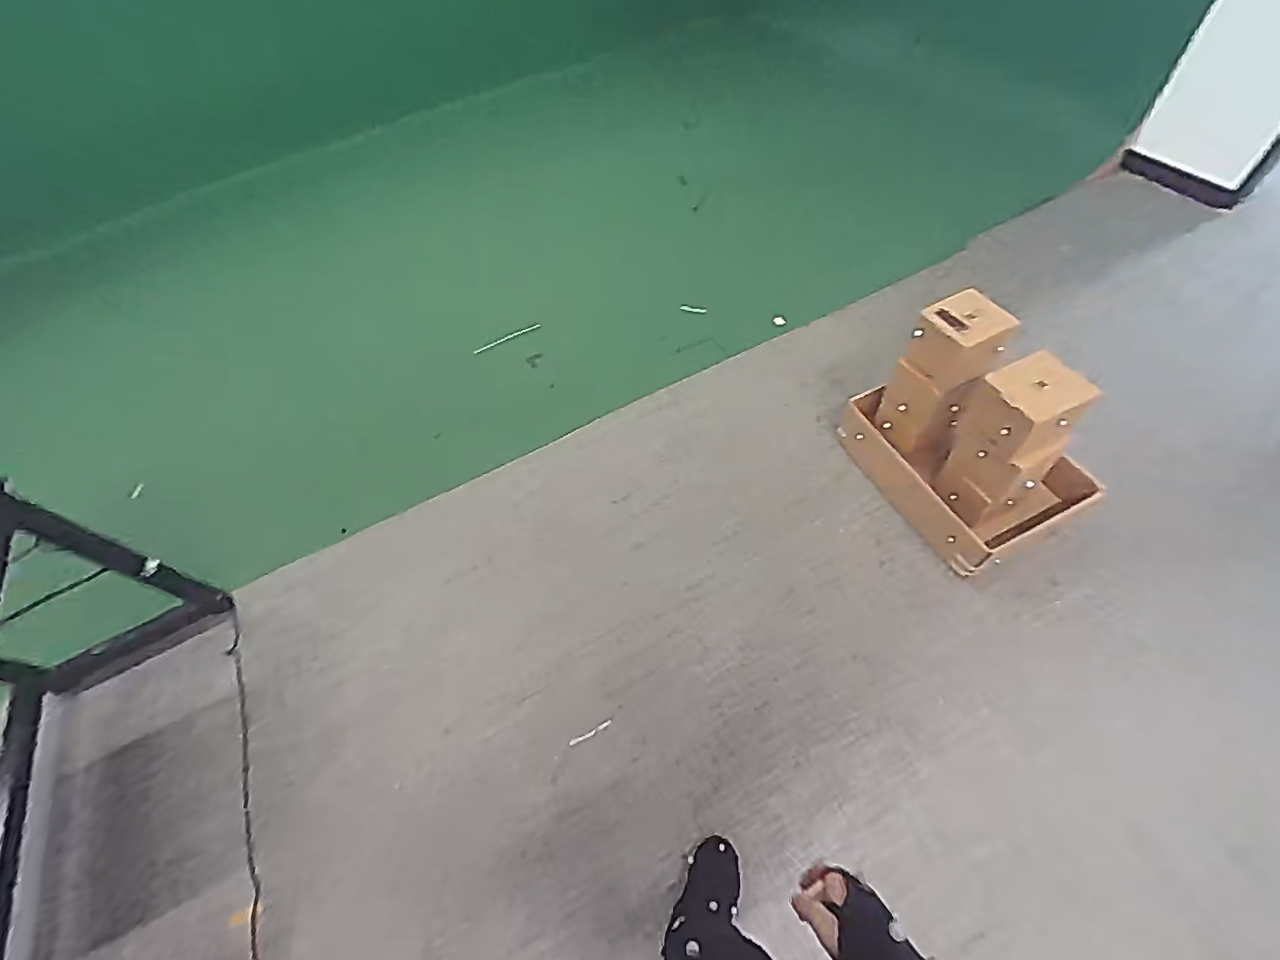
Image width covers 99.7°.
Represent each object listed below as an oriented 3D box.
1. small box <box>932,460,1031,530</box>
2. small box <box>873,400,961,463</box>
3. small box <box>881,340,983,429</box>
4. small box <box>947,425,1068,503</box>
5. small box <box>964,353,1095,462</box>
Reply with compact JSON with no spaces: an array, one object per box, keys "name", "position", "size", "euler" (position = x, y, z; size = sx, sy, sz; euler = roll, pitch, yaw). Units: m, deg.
[{"name":"small box","position":[0.986,0.019,1.576],"size":[0.179,0.176,0.168],"euler":[-23,56,-7]},{"name":"small box","position":[0.873,-0.184,1.729],"size":[0.179,0.176,0.168],"euler":[-26,57,-8]},{"name":"small box","position":[0.848,-0.272,1.590],"size":[0.168,0.176,0.179],"euler":[-25,59,-10]},{"name":"small box","position":[0.964,-0.072,1.440],"size":[0.168,0.176,0.179],"euler":[-27,57,-9]},{"name":"small box","position":[0.928,-0.170,1.314],"size":[0.179,0.176,0.168],"euler":[-23,56,-6]}]
